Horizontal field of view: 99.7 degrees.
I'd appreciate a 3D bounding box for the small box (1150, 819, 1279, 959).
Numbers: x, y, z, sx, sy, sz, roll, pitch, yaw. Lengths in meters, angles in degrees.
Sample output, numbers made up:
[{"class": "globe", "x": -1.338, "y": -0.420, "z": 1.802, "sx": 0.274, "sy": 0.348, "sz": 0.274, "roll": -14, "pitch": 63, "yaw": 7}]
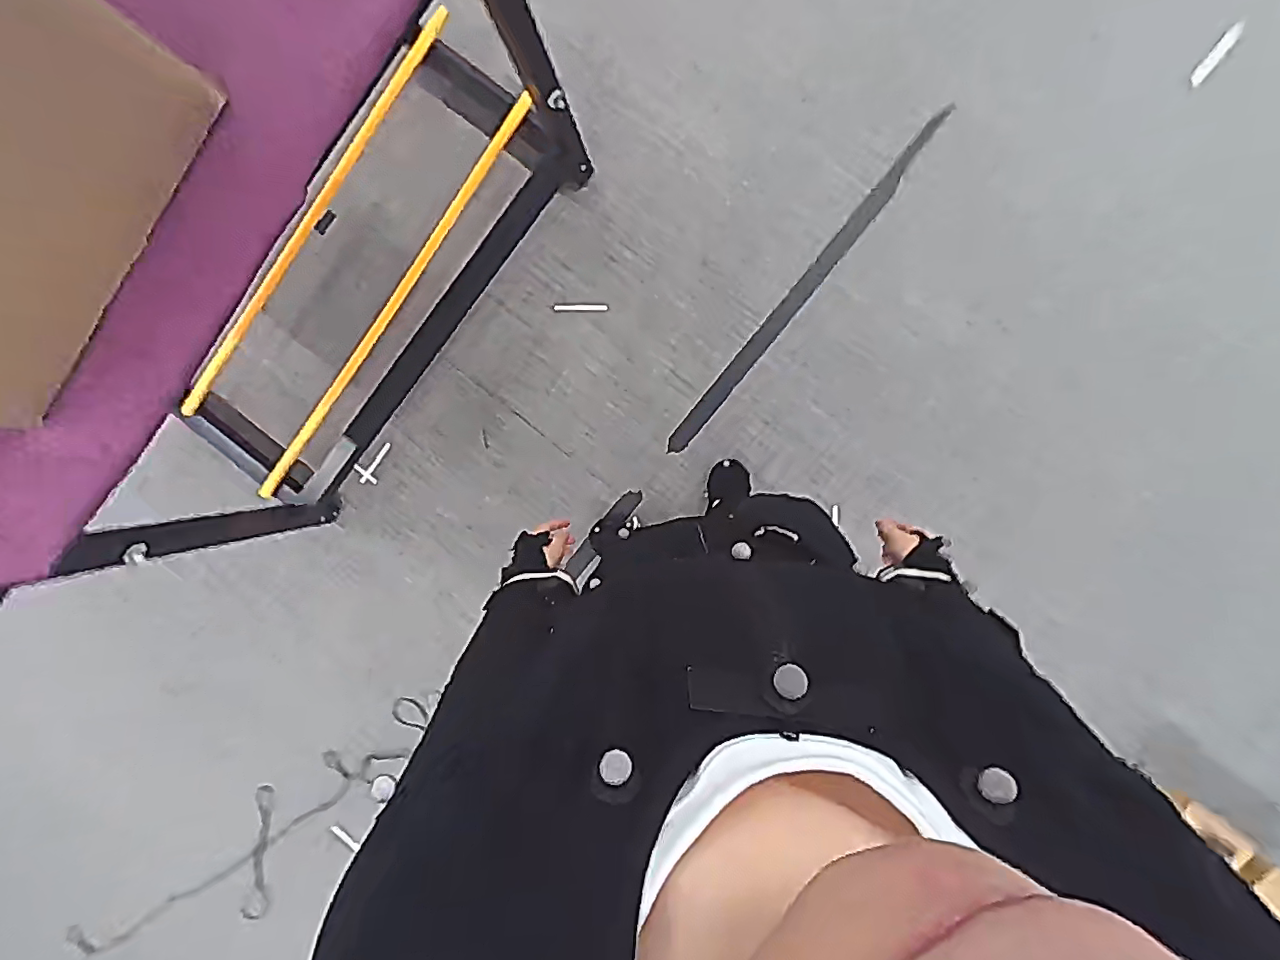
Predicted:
[{"class": "small box", "x": 1.355, "y": 0.938, "z": 1.231, "sx": 0.168, "sy": 0.176, "sz": 0.179, "roll": 40, "pitch": 96, "yaw": 3}]
